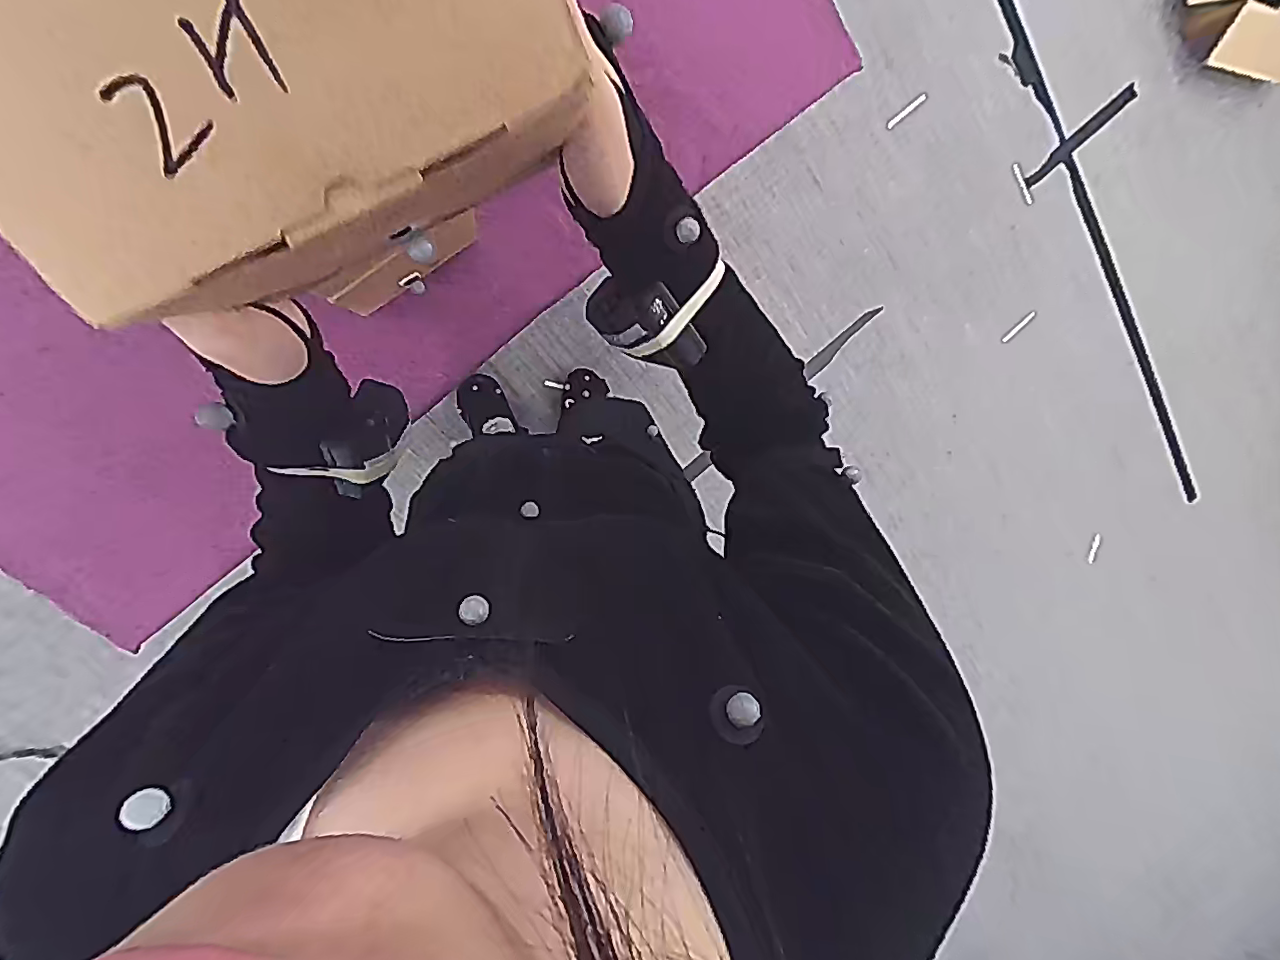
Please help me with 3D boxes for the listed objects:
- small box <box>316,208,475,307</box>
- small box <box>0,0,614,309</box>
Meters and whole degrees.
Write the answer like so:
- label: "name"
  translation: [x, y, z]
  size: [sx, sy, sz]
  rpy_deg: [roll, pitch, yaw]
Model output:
- label: "small box"
  translation: [-0.288, -0.297, 0.548]
  size: [0.168, 0.176, 0.179]
  rpy_deg: [-39, 110, -5]
- label: "small box"
  translation: [-0.131, -0.181, 0.191]
  size: [0.168, 0.176, 0.179]
  rpy_deg: [-27, 117, -3]
